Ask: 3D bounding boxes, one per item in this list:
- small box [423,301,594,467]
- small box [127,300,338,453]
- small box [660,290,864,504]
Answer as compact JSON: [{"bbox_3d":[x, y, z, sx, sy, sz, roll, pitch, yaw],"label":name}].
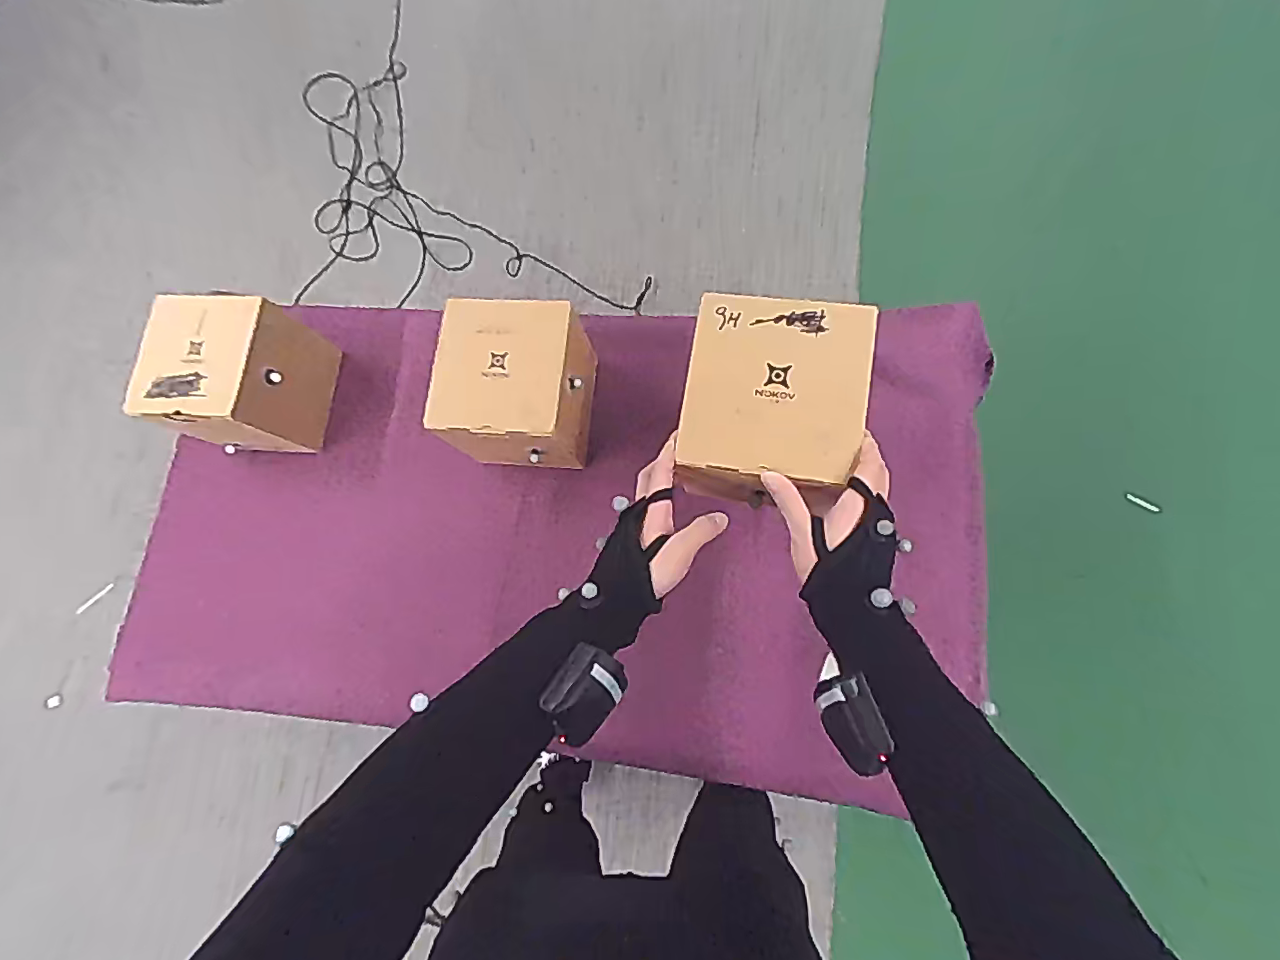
[{"bbox_3d":[-0.166,-0.122,0.739,0.168,0.176,0.179,4,78,8],"label":"small box"},{"bbox_3d":[-0.584,-0.144,0.800,0.168,0.176,0.179,3,77,8],"label":"small box"},{"bbox_3d":[0.125,-0.076,0.573,0.168,0.176,0.179,8,82,11],"label":"small box"}]
